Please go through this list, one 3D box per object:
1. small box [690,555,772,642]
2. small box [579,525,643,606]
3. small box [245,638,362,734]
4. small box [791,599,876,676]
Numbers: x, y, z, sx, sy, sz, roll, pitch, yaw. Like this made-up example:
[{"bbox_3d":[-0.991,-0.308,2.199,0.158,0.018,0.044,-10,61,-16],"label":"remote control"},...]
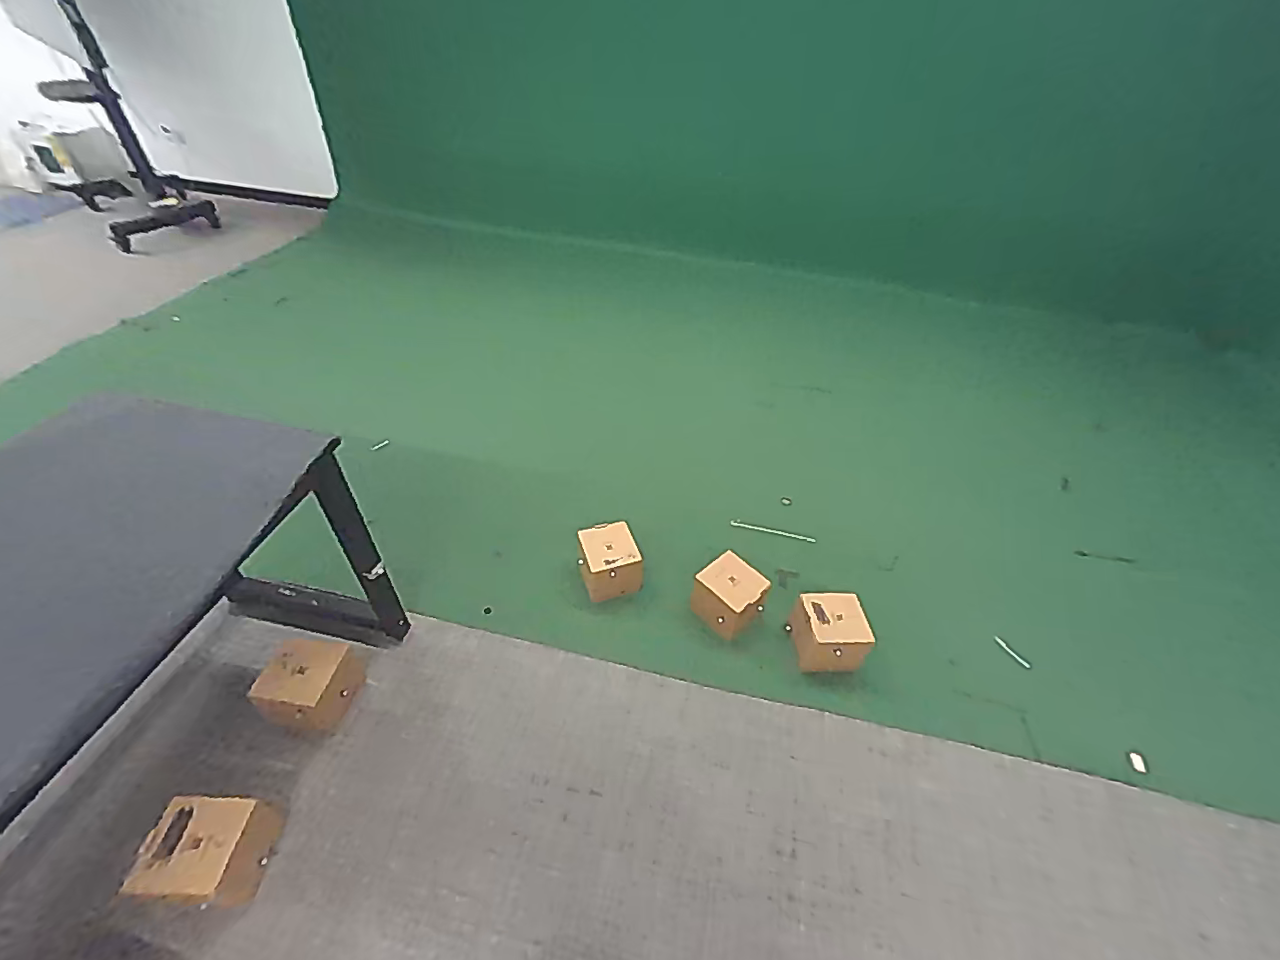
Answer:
[{"bbox_3d":[0.277,0.376,1.680,0.168,0.176,0.179,-30,53,-33],"label":"small box"},{"bbox_3d":[-0.100,0.276,1.751,0.168,0.176,0.179,-11,45,-17],"label":"small box"},{"bbox_3d":[-0.854,0.536,1.397,0.179,0.176,0.168,8,43,3],"label":"small box"},{"bbox_3d":[0.561,0.469,1.606,0.179,0.176,0.168,1,44,-6],"label":"small box"}]
